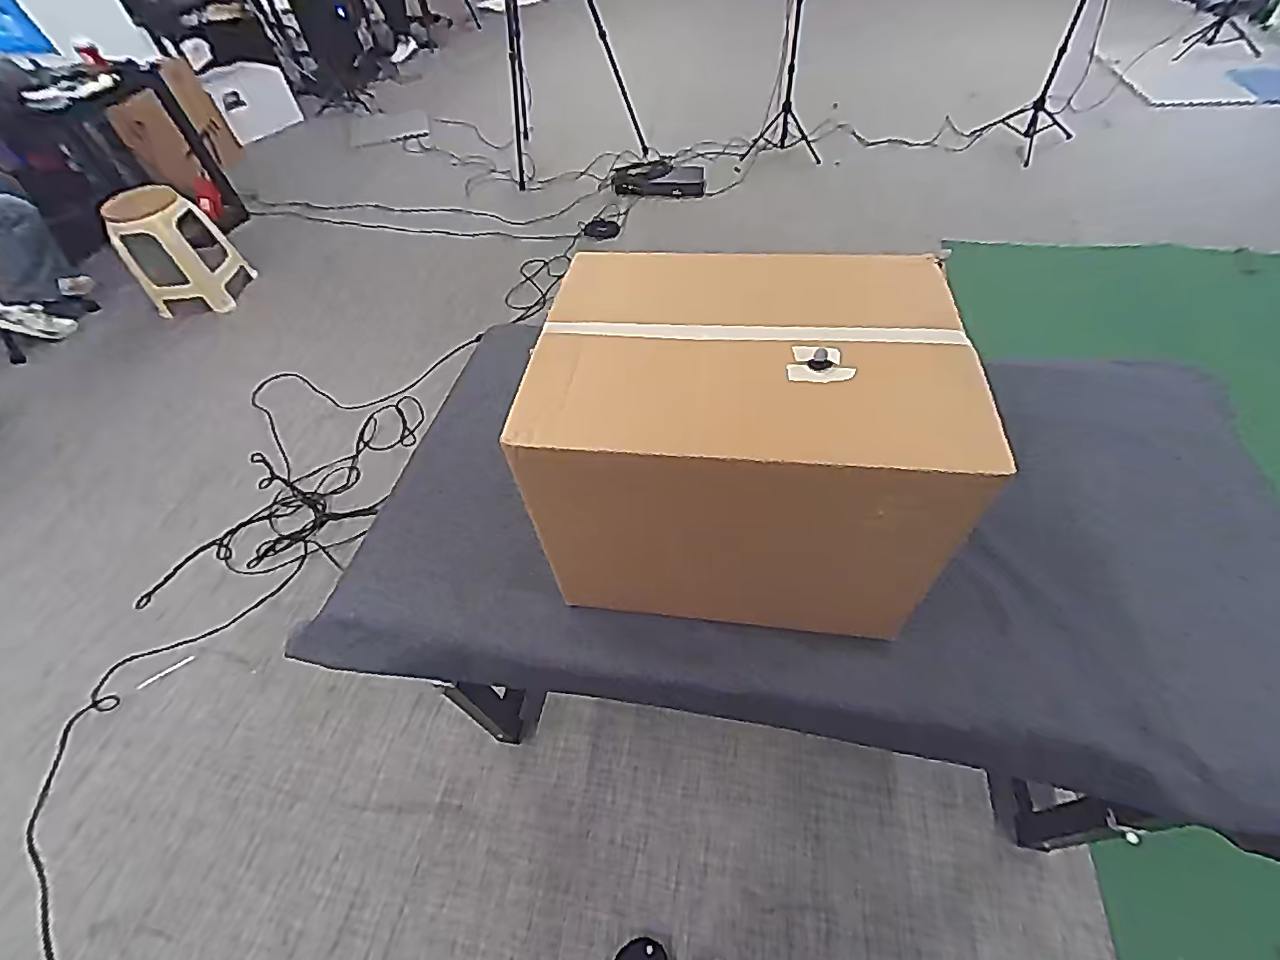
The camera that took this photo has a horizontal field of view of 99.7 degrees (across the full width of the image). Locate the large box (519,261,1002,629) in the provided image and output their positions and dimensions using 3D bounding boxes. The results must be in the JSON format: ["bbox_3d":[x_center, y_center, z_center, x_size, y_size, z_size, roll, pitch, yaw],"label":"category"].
[{"bbox_3d":[0.113,-0.040,0.650,0.408,0.320,0.320,4,52,7],"label":"large box"}]
